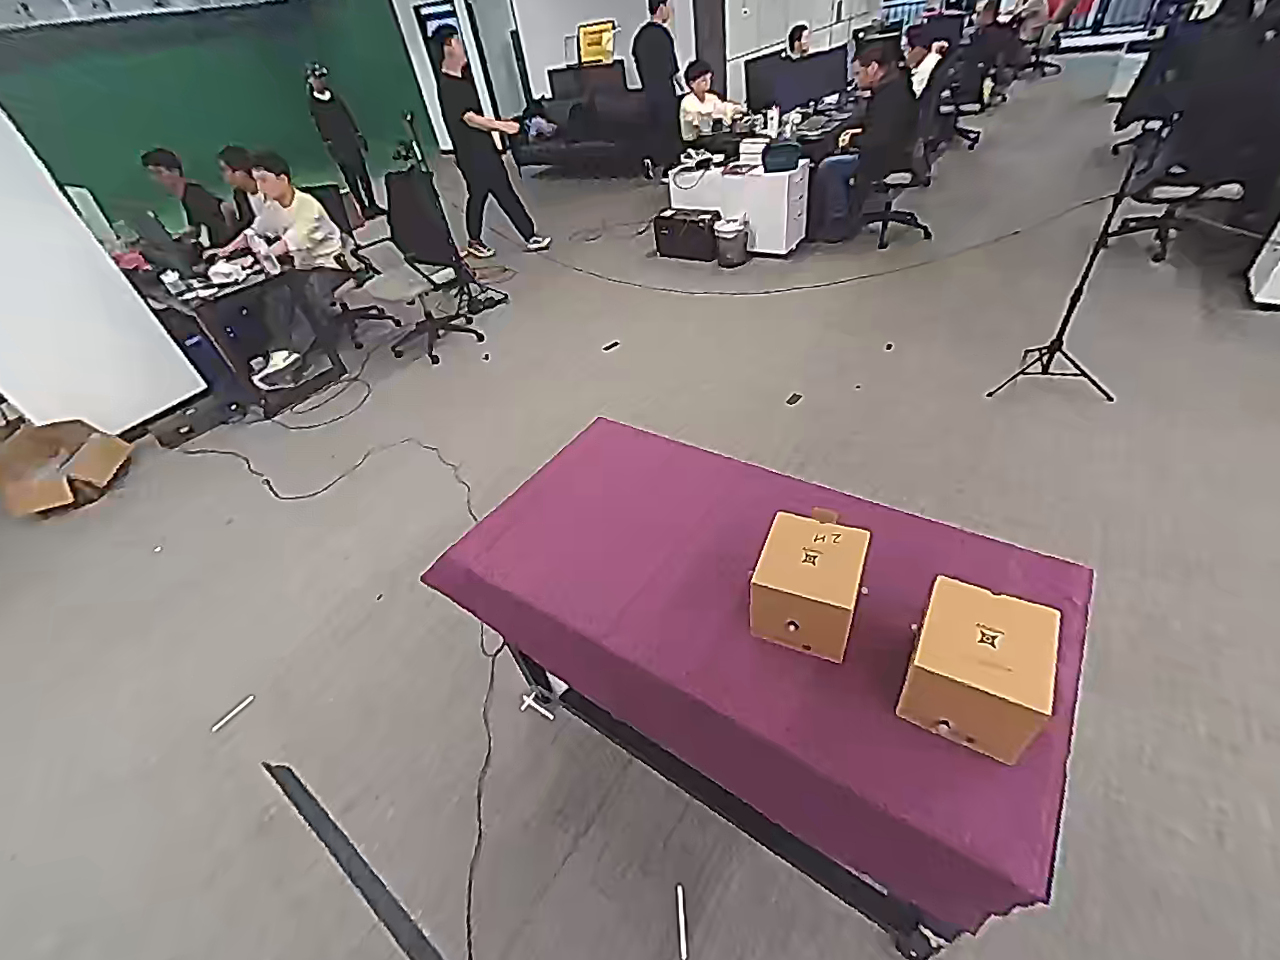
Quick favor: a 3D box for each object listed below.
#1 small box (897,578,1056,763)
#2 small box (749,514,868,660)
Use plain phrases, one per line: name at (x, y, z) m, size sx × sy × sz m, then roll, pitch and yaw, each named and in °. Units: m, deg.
small box at (0.511, 0.291, 0.835) m, size 0.168 × 0.176 × 0.179 m, roll 17°, pitch 47°, yaw 29°
small box at (0.305, 0.195, 0.985) m, size 0.168 × 0.176 × 0.179 m, roll 13°, pitch 46°, yaw 24°
